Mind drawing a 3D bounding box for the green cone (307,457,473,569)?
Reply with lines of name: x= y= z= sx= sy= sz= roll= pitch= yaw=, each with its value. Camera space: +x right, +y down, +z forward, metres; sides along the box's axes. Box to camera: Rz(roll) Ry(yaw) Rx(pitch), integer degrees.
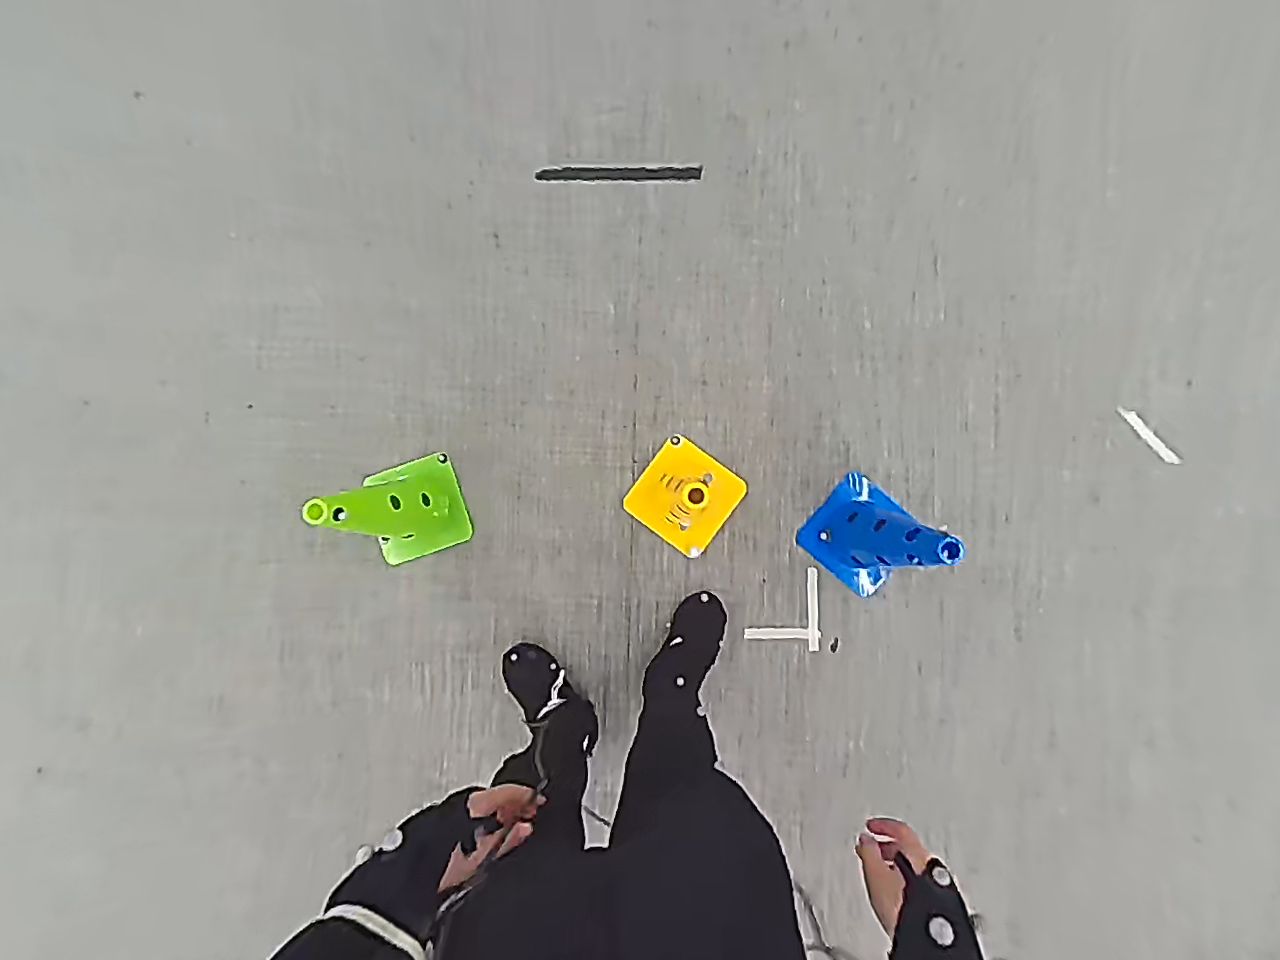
green cone: x=-0.482 y=0.064 z=0.990 sx=0.200 sy=0.368 sz=0.202 roll=-20 pitch=88 yaw=1
